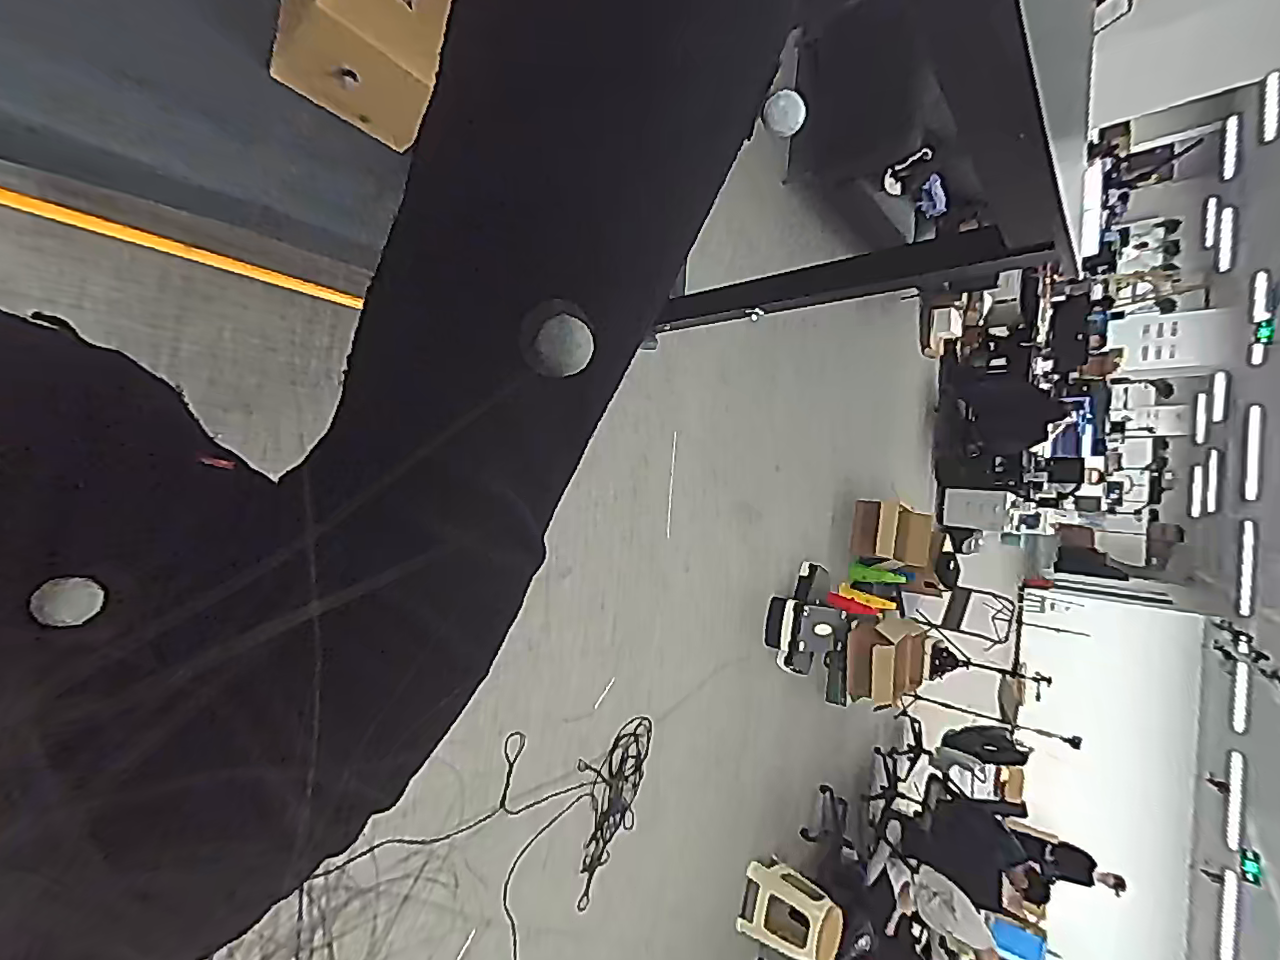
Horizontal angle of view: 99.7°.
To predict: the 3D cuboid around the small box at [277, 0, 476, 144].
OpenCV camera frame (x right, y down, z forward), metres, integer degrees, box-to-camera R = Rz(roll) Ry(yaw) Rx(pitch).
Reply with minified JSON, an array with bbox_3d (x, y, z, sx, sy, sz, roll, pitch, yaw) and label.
[{"bbox_3d":[-0.328,-0.566,0.673,0.168,0.176,0.179,11,84,-48],"label":"small box"}]
